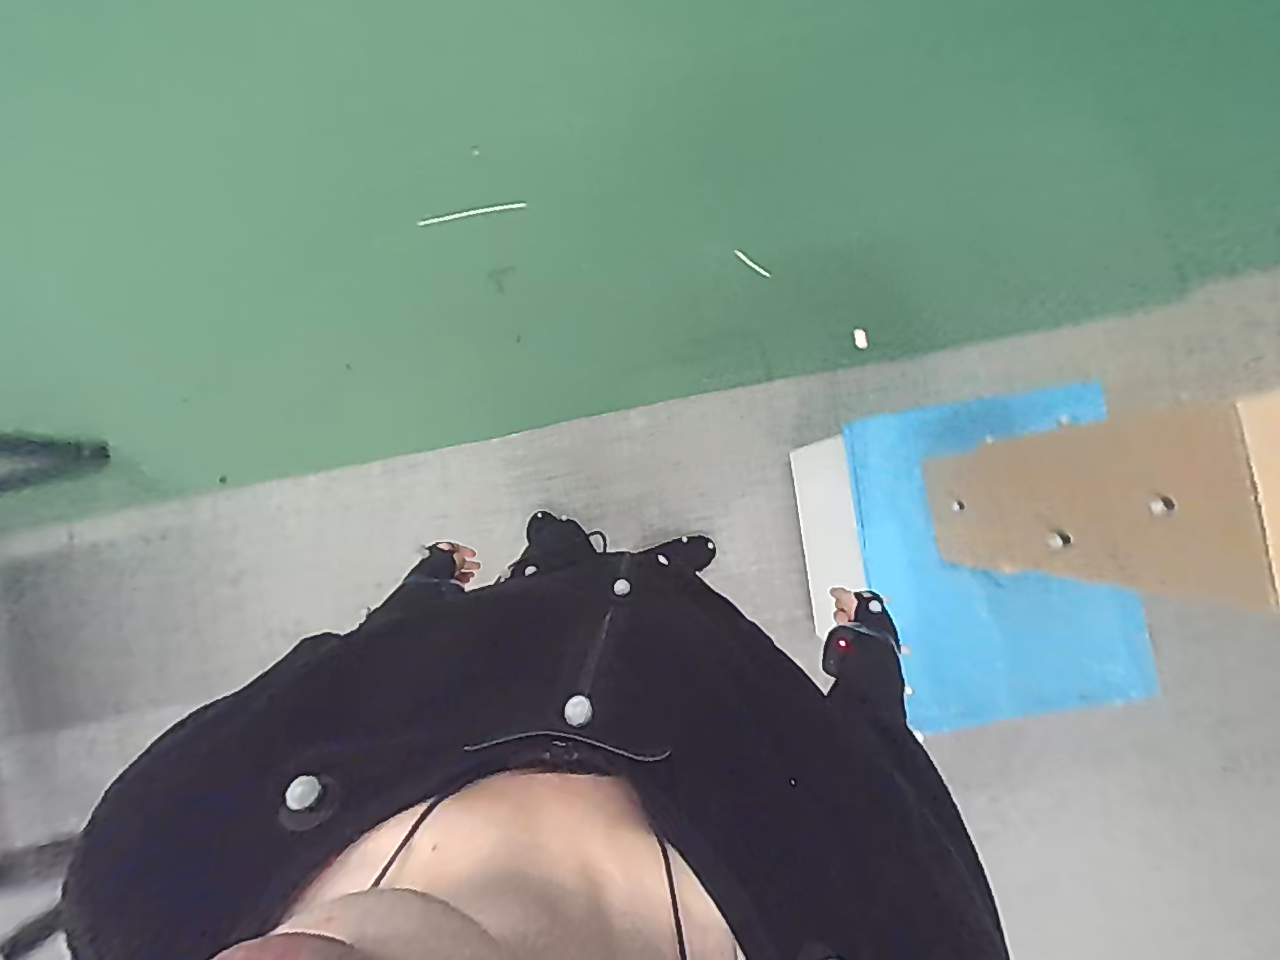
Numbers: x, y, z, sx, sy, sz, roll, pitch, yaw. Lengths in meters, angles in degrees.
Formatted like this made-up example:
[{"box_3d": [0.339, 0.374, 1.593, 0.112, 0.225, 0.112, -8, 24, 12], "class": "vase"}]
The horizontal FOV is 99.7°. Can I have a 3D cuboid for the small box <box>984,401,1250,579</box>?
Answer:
[{"box_3d": [0.564, 0.011, 0.665, 0.168, 0.176, 0.179, -9, 88, 0], "class": "small box"}]

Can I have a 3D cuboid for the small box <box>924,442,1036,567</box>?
[{"box_3d": [0.568, 0.025, 0.829, 0.168, 0.176, 0.179, -10, 88, 0], "class": "small box"}]
